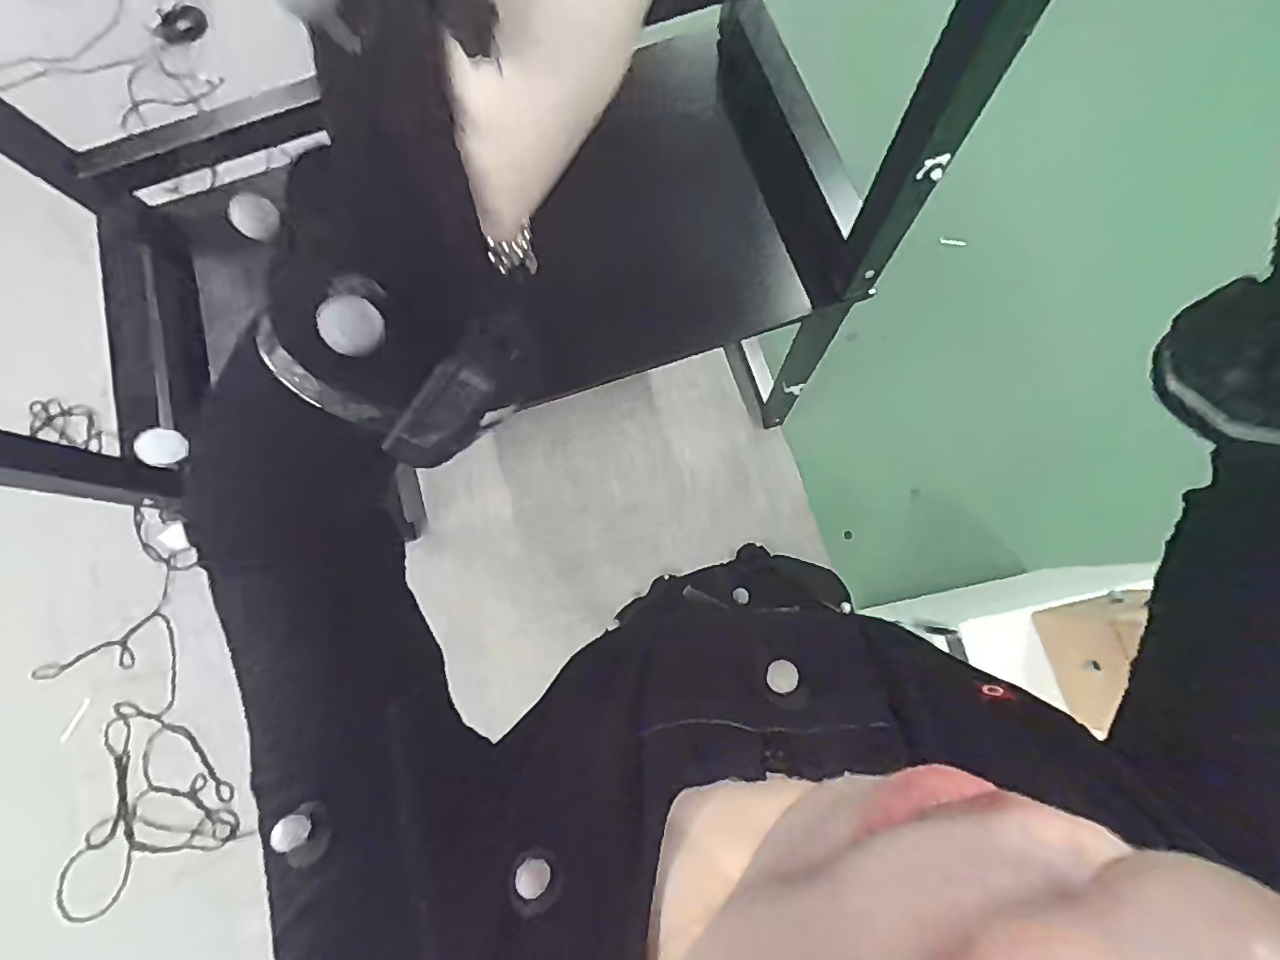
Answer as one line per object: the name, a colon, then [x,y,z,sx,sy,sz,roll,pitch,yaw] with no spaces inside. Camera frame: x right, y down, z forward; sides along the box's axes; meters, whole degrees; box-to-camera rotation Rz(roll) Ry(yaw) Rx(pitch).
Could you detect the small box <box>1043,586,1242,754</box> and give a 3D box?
small box: [0.724,0.255,0.762,0.168,0.176,0.179,-15,78,2]
